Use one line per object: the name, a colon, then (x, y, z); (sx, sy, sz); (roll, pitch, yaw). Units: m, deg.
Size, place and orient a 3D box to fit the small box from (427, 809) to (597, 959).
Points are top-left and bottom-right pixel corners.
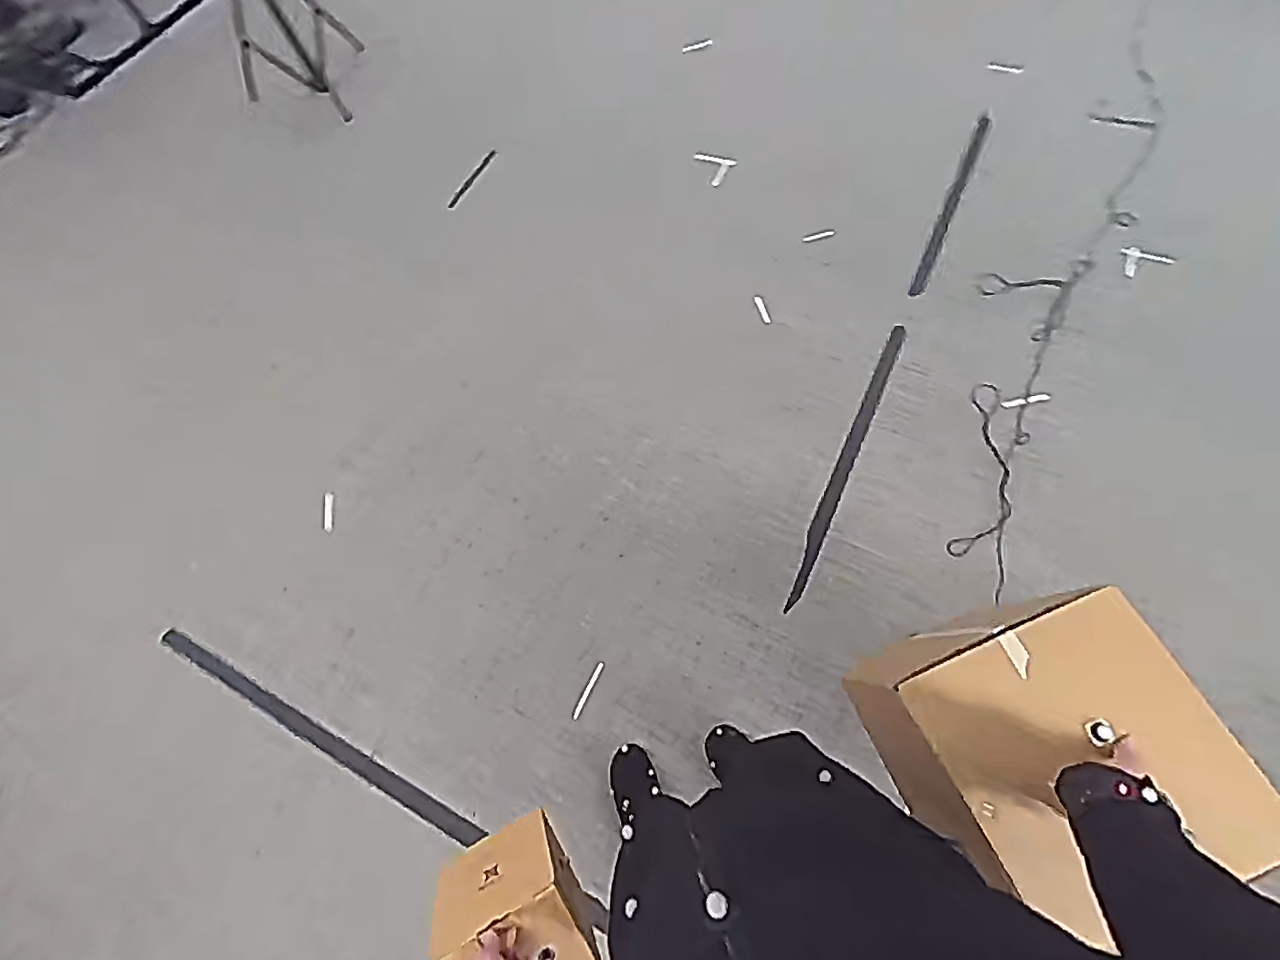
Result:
small box: (-0.169, 0.612, 0.739); (0.168, 0.179, 0.176); (-24, 96, -15)
